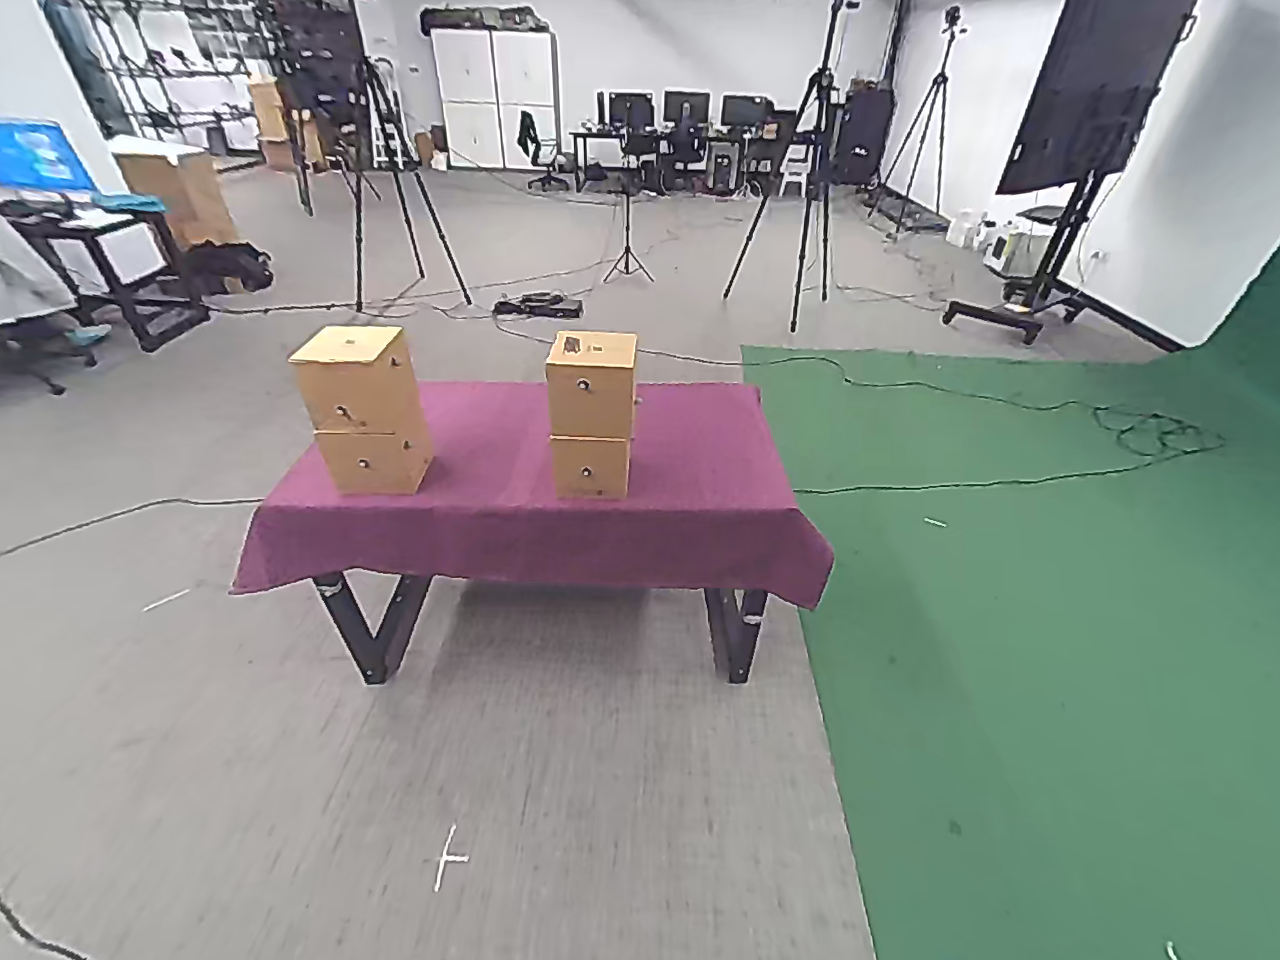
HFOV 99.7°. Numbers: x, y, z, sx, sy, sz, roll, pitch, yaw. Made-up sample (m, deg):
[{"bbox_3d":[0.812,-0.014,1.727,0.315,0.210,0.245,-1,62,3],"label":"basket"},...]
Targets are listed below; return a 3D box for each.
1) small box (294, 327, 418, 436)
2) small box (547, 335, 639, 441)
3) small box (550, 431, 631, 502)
[{"bbox_3d":[-0.592,-0.212,1.157,0.168,0.176,0.179,1,38,-2],"label":"small box"},{"bbox_3d":[-0.095,-0.197,1.161,0.179,0.176,0.168,4,38,1],"label":"small box"},{"bbox_3d":[-0.107,-0.065,1.259,0.168,0.176,0.179,3,37,1],"label":"small box"}]
